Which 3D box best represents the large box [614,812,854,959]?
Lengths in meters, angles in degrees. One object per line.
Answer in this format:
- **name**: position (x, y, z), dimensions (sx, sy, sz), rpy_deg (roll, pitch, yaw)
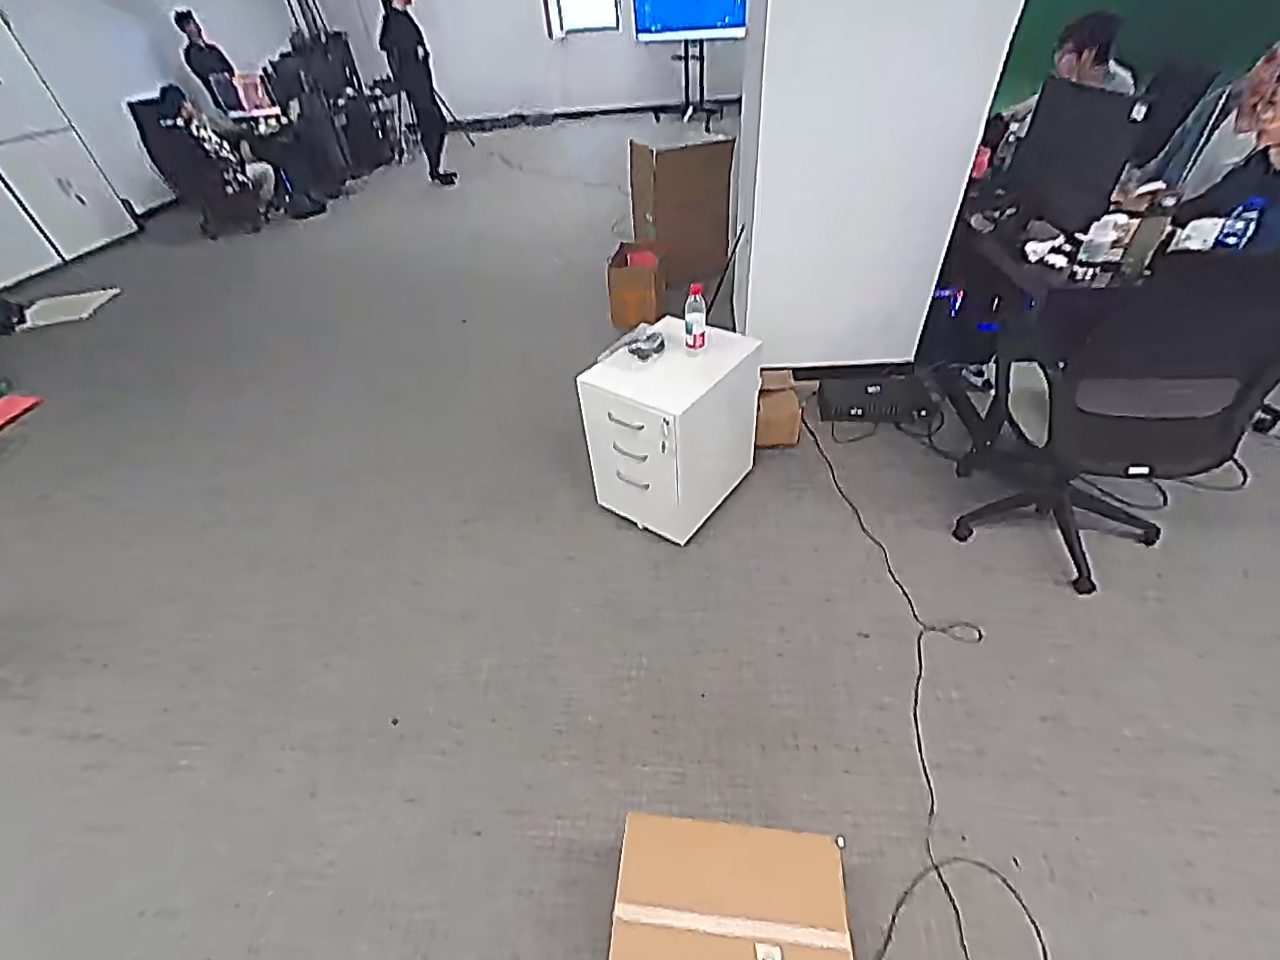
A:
- **large box**: position (0.169, 0.880, 1.039), dimensions (0.408, 0.320, 0.320), rpy_deg (2, 43, 8)
